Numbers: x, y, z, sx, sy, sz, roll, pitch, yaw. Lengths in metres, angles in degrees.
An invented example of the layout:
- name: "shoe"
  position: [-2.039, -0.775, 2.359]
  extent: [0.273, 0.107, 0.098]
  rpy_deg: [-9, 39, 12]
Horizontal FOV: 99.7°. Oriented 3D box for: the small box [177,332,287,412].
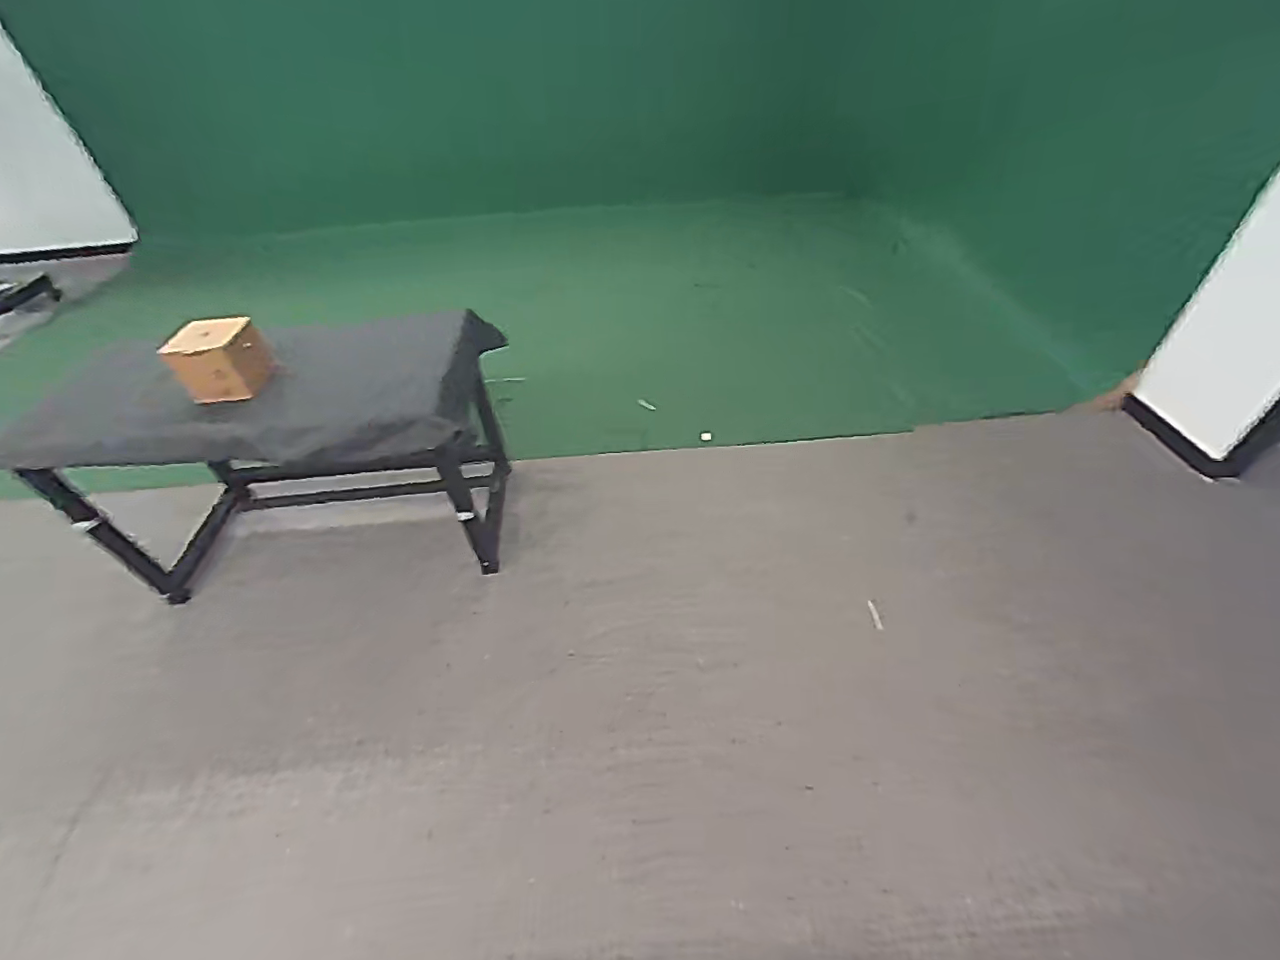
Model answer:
- name: "small box"
  position: [-1.170, -0.309, 1.570]
  extent: [0.168, 0.176, 0.179]
  rpy_deg: [-4, 42, -1]
